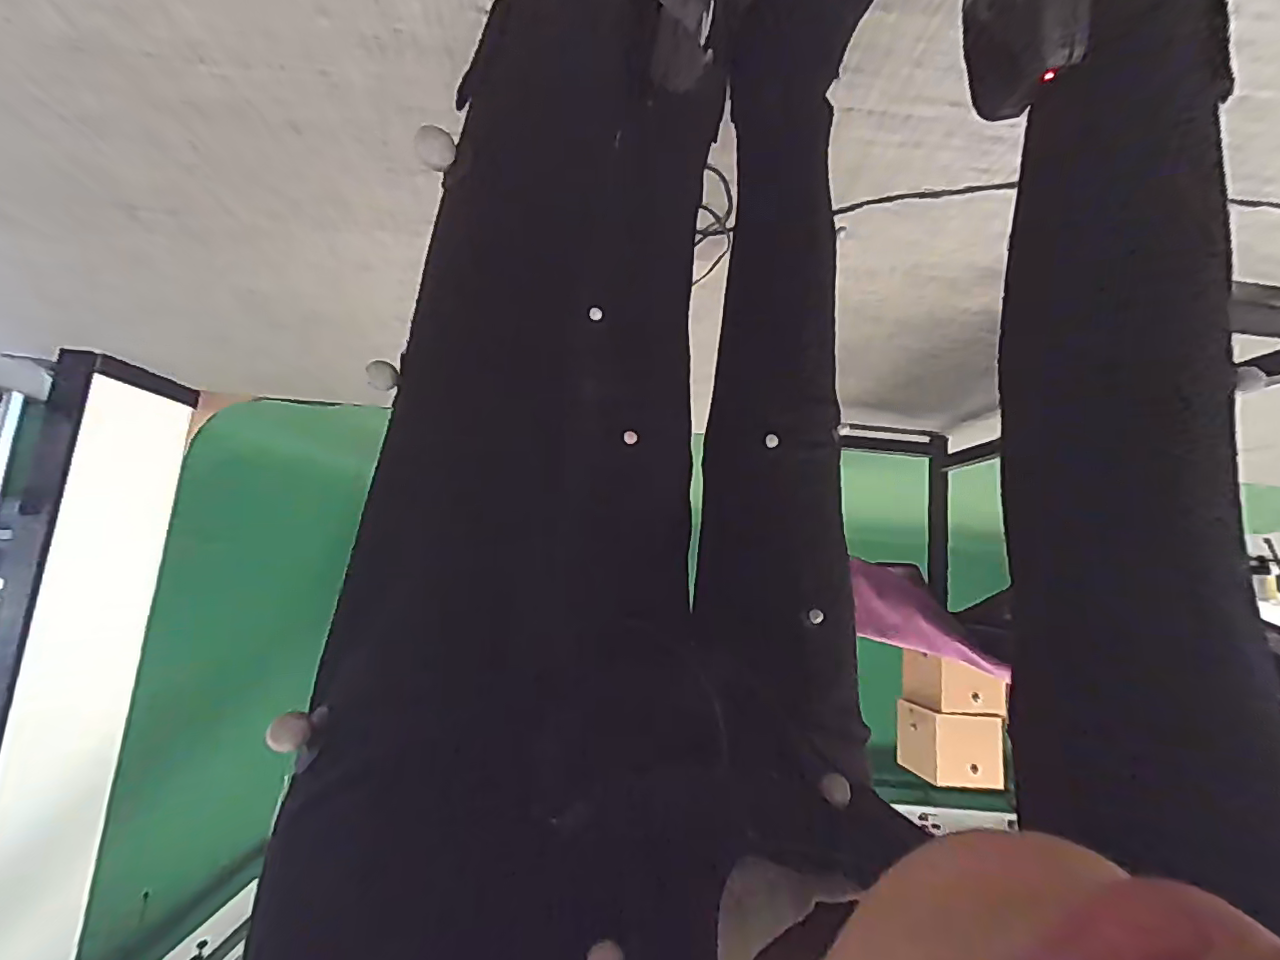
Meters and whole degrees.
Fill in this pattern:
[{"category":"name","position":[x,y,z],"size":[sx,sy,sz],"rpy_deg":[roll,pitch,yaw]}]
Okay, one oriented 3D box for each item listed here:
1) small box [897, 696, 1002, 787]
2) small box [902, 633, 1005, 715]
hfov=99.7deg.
[{"category":"small box","position":[0.783,0.659,1.377],"size":[0.179,0.176,0.168],"rpy_deg":[6,170,-5]},{"category":"small box","position":[0.813,0.500,1.410],"size":[0.179,0.176,0.168],"rpy_deg":[7,170,-6]}]
